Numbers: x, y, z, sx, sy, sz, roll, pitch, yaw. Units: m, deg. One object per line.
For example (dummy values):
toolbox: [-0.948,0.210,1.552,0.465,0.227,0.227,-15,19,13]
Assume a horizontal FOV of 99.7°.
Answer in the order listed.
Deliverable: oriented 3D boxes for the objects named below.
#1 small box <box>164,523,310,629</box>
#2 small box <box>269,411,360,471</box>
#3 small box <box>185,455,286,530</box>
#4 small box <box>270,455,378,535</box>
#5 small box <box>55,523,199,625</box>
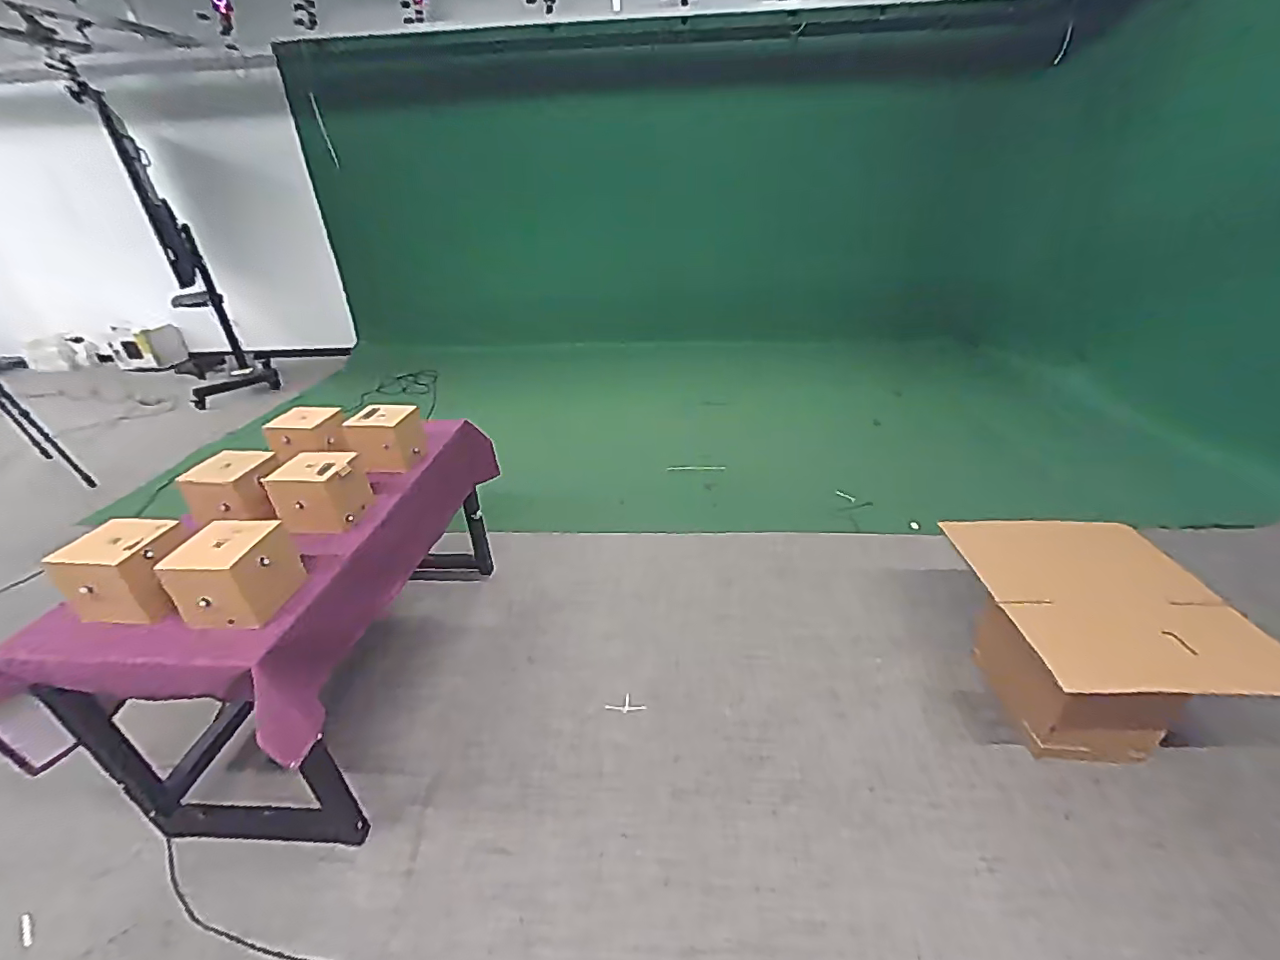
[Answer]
small box: [-0.880,0.214,1.205,0.168,0.176,0.179,0,30,5]
small box: [-1.082,-0.121,1.817,0.179,0.176,0.168,1,30,8]
small box: [-1.115,0.042,1.534,0.168,0.176,0.179,2,30,8]
small box: [-0.866,0.043,1.505,0.179,0.176,0.168,0,29,7]
small box: [-1.136,0.213,1.234,0.179,0.176,0.168,0,29,7]
